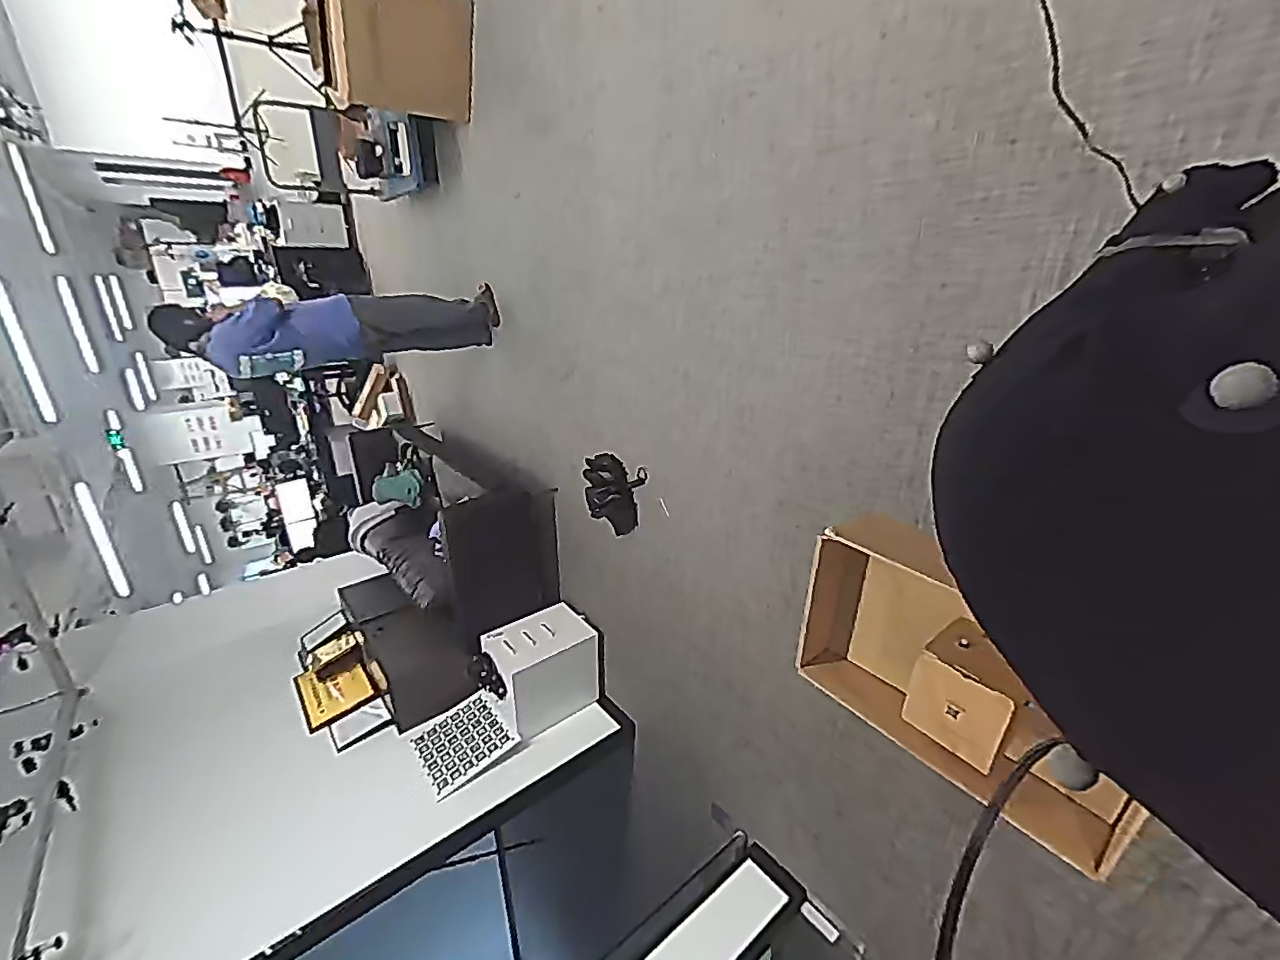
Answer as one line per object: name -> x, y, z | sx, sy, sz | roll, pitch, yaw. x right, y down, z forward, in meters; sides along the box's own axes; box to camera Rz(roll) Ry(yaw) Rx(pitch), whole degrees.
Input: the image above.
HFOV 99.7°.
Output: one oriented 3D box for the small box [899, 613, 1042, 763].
small box -> 0.636, 0.387, 1.039 | 0.168, 0.176, 0.179 | 29, 128, 47
